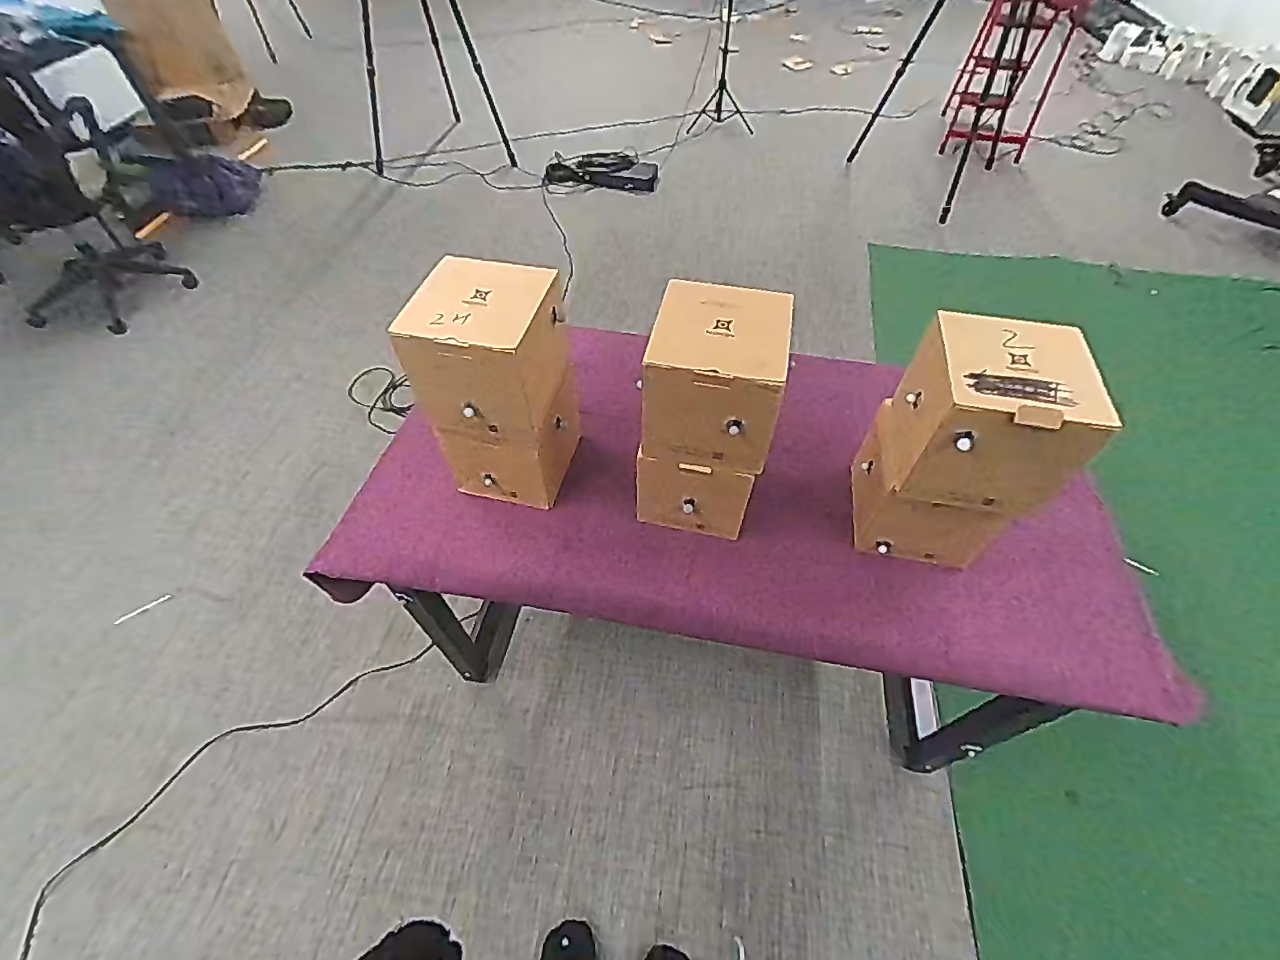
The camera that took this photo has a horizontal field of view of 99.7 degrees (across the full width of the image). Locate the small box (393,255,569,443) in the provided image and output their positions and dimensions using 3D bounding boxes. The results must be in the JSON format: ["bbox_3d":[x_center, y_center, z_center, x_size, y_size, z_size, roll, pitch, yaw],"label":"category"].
[{"bbox_3d":[-0.201,-0.179,0.748,0.168,0.176,0.179,10,54,7],"label":"small box"}]

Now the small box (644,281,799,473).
[{"bbox_3d":[0.105,-0.131,0.714,0.168,0.176,0.179,11,53,8],"label":"small box"}]

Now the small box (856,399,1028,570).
[{"bbox_3d":[0.435,0.011,0.808,0.168,0.176,0.179,13,54,7],"label":"small box"}]

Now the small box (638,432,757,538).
[{"bbox_3d":[0.097,-0.032,0.843,0.168,0.176,0.179,11,54,8],"label":"small box"}]
